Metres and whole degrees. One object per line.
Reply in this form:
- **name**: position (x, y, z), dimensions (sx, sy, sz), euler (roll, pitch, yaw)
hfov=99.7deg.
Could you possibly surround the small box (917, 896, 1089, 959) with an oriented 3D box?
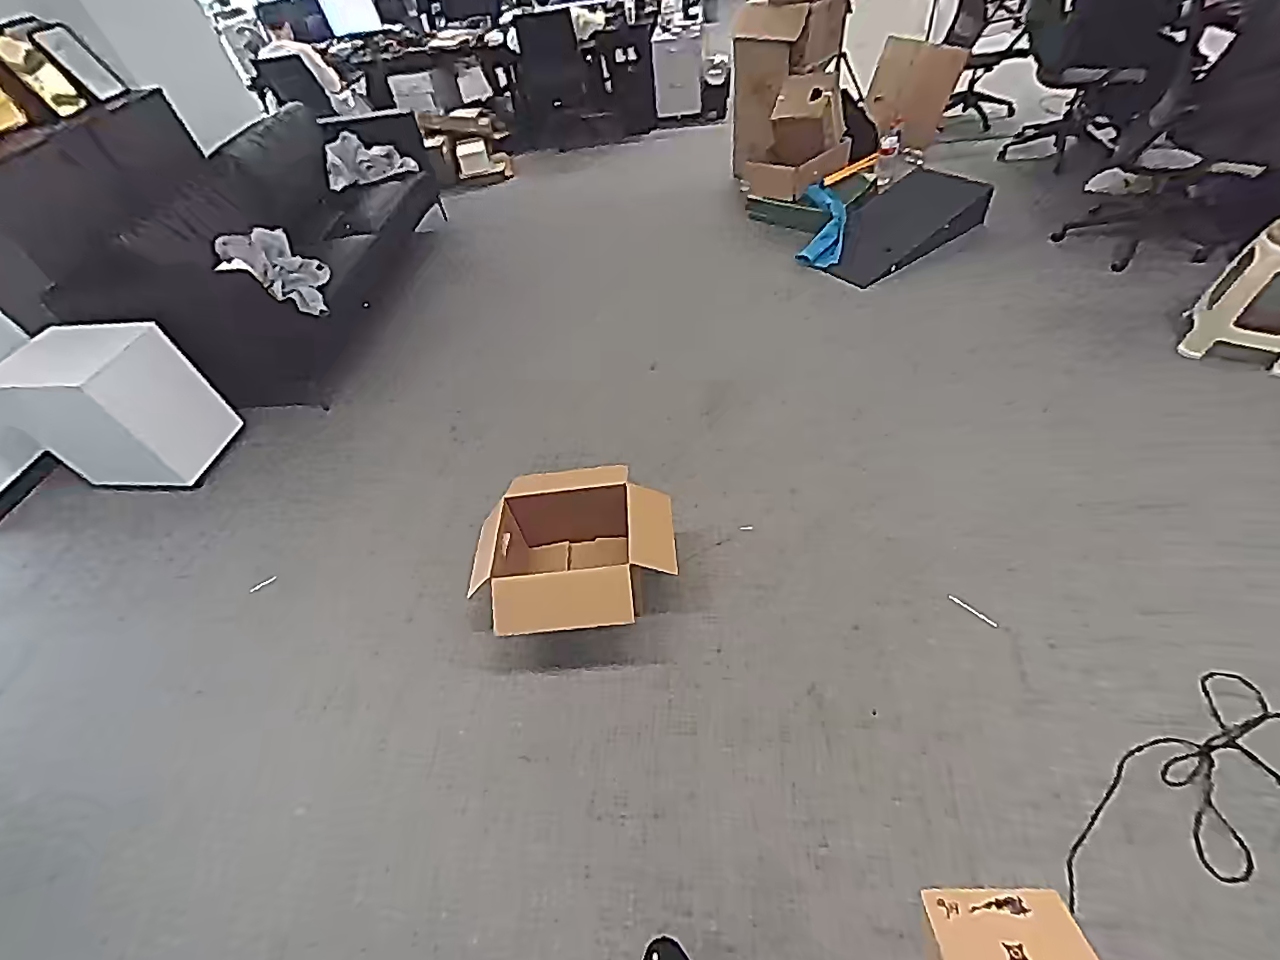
- **small box**: position (0.443, 0.635, 0.630), dimensions (0.168, 0.176, 0.179), euler (-10, 12, 14)
